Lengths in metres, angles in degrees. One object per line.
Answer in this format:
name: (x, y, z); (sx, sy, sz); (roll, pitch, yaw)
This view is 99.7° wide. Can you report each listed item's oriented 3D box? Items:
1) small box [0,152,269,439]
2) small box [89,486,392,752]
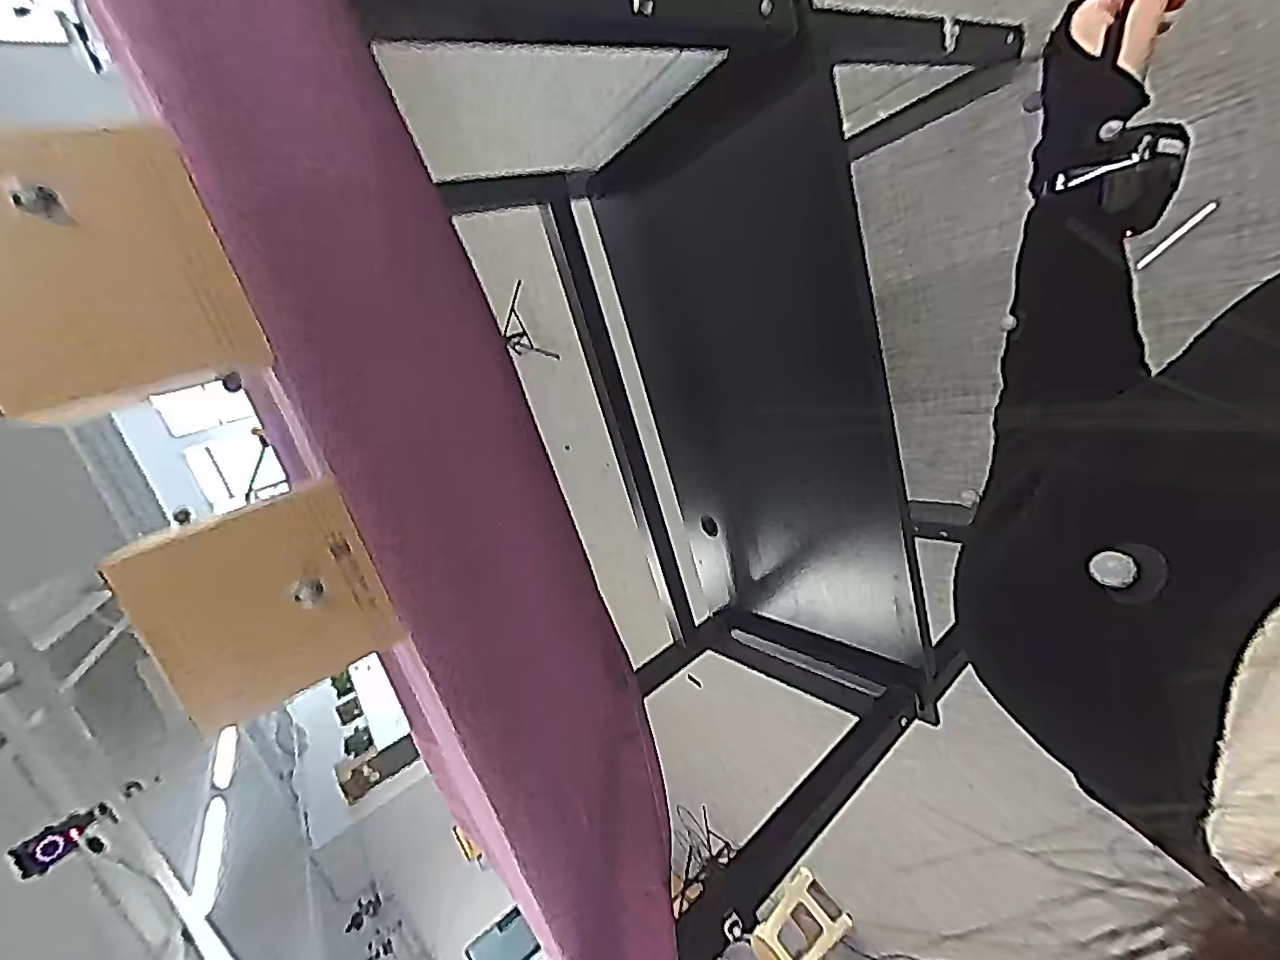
small box: (-0.437, -0.146, 0.442); (0.168, 0.176, 0.179); (9, 122, 55)
small box: (-0.364, 0.113, 0.527); (0.179, 0.176, 0.168); (3, 115, 56)
